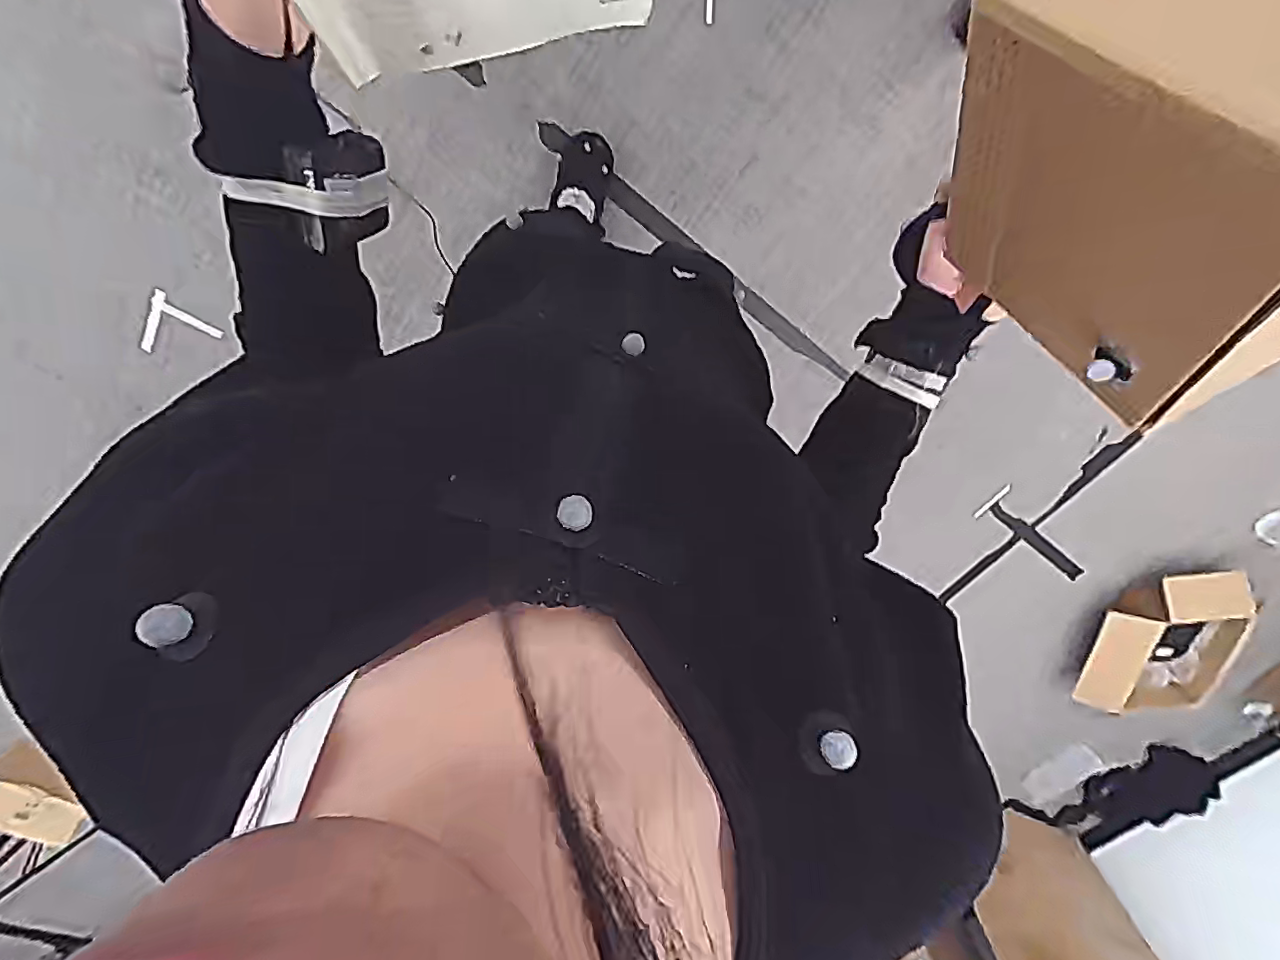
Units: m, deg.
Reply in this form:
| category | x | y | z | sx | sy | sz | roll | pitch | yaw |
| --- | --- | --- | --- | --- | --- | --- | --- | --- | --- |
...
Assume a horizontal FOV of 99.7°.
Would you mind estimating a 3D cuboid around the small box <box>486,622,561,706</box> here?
| category | x | y | z | sx | sy | sz | roll | pitch | yaw |
| --- | --- | --- | --- | --- | --- | --- | --- | --- | --- |
| small box | -0.336 | 0.542 | 1.606 | 0.179 | 0.176 | 0.168 | -7 | 119 | 3 |

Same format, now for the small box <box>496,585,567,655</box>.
| category | x | y | z | sx | sy | sz | roll | pitch | yaw |
| --- | --- | --- | --- | --- | --- | --- | --- | --- | --- |
| small box | -0.343 | 0.461 | 1.750 | 0.179 | 0.176 | 0.168 | -8 | 119 | 3 |

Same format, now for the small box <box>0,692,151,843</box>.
| category | x | y | z | sx | sy | sz | roll | pitch | yaw |
| --- | --- | --- | --- | --- | --- | --- | --- | --- | --- |
| small box | -1.096 | 0.543 | 1.029 | 0.168 | 0.176 | 0.179 | 37 | 112 | -22 |
